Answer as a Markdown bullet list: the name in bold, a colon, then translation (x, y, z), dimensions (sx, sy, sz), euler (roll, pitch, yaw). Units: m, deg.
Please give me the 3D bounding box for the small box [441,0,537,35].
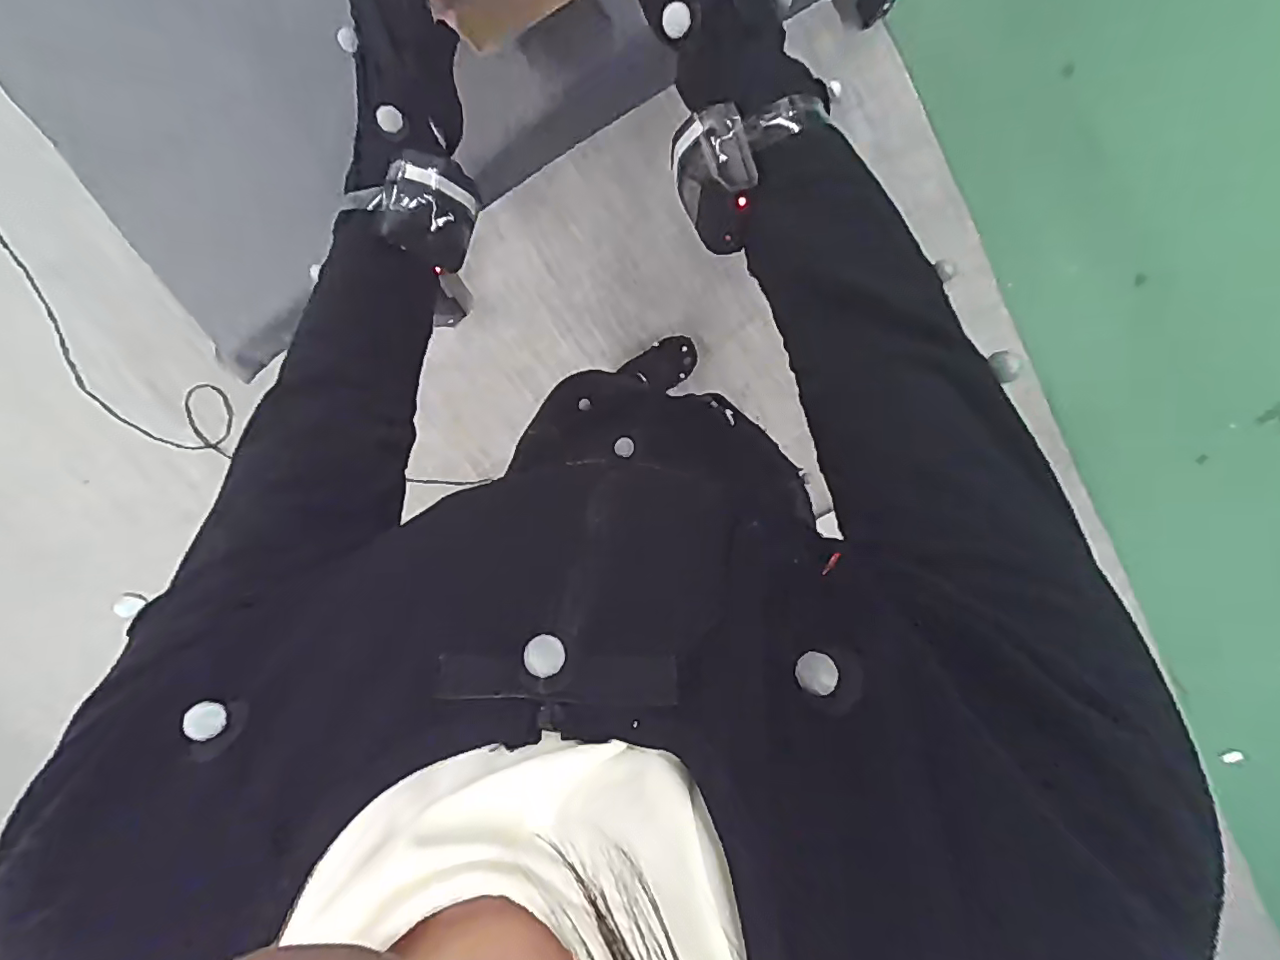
- **small box**: translation (-0.117, -0.479, 0.392), dimensions (0.179, 0.176, 0.168), euler (-23, 110, 15)
